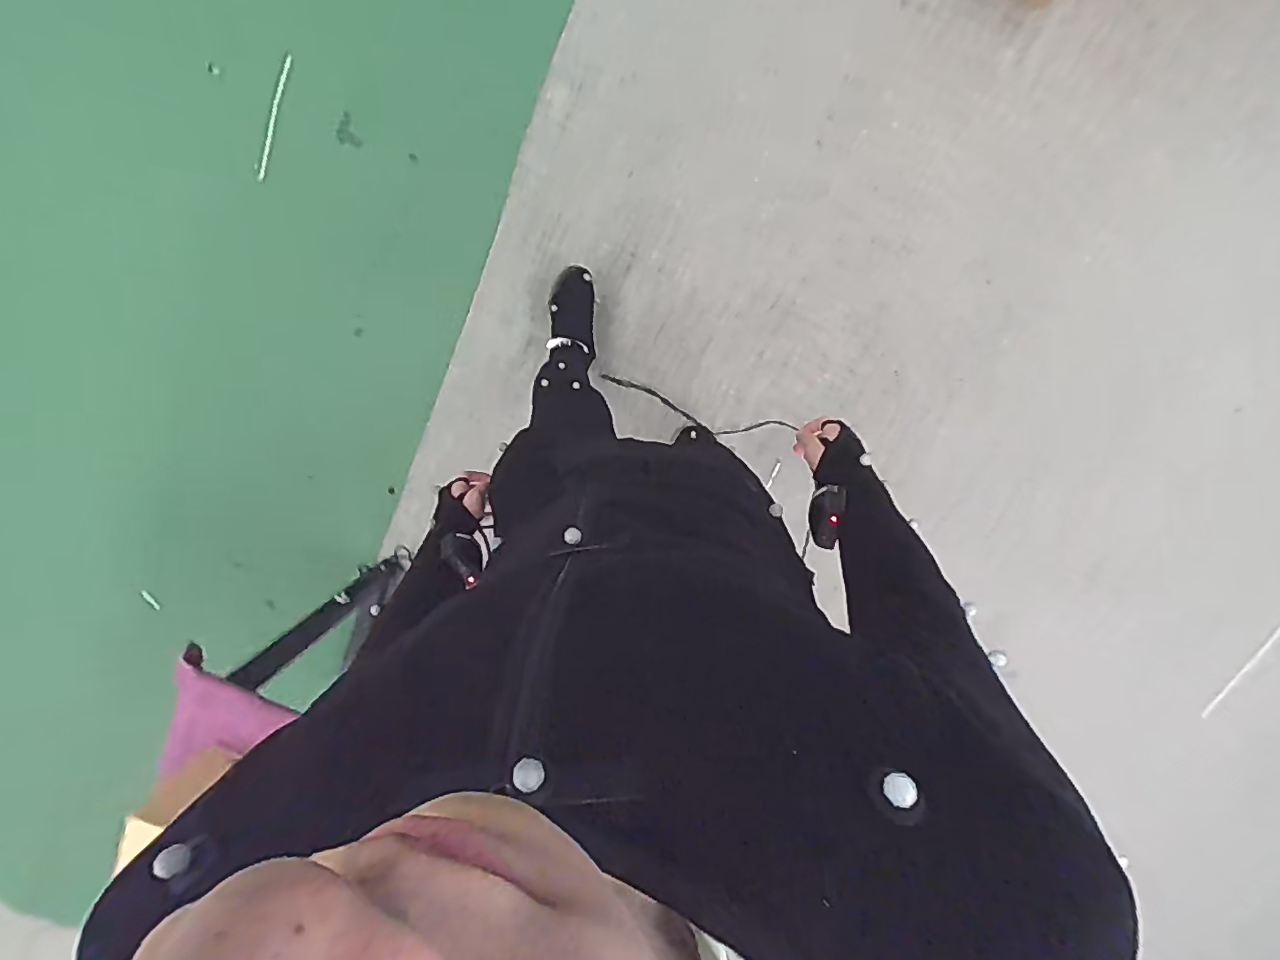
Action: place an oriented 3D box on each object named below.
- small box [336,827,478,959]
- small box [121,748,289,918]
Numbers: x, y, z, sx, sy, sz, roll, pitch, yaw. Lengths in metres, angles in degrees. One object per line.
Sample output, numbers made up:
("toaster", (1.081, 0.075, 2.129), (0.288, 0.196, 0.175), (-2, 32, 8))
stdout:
("small box", (-0.432, 0.815, 1.025), (0.168, 0.176, 0.179), (26, 106, -2))
("small box", (-0.800, 0.649, 1.009), (0.168, 0.176, 0.179), (26, 106, -4))
